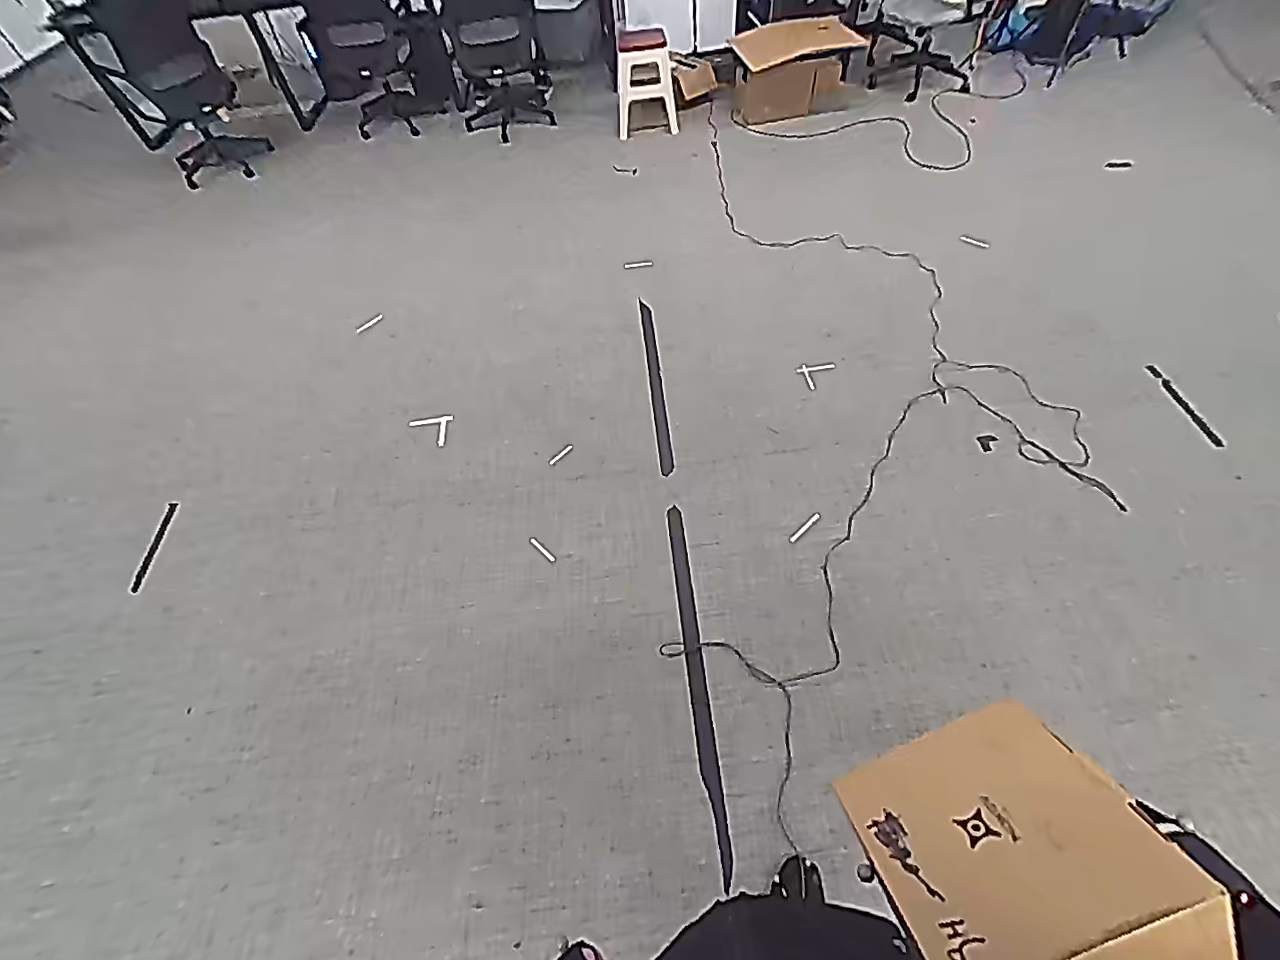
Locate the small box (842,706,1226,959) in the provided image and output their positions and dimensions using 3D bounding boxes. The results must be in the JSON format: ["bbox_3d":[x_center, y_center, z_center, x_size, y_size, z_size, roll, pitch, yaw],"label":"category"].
[{"bbox_3d":[0.297,0.327,0.429,0.179,0.176,0.168,-26,17,2],"label":"small box"}]
